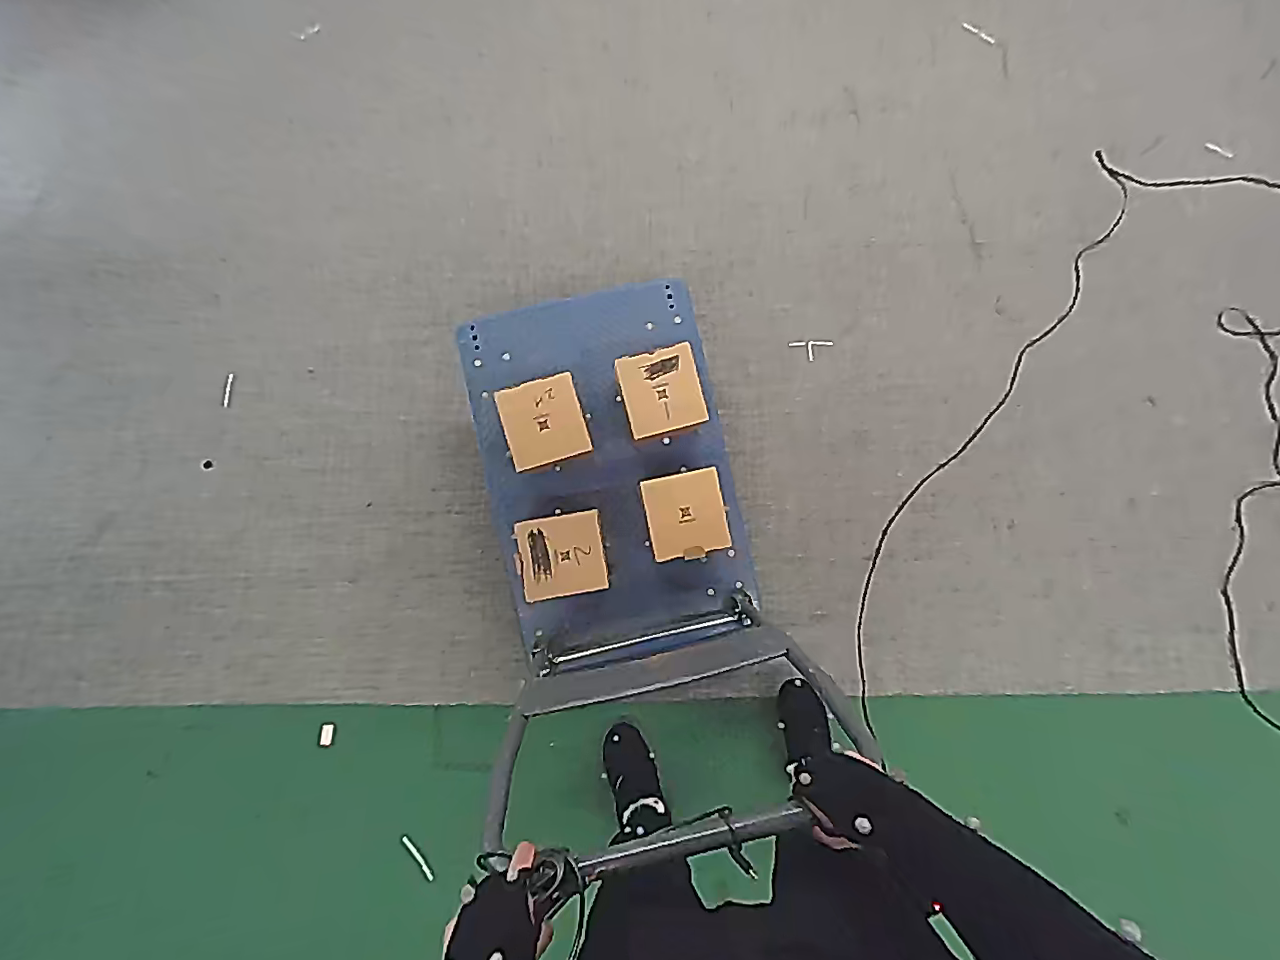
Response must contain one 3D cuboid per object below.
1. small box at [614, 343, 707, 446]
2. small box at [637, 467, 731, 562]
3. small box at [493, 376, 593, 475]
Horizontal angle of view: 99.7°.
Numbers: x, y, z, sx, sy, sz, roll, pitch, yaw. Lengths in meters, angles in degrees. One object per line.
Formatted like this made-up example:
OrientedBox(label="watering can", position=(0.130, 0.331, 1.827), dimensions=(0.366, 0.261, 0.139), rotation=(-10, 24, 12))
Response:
OrientedBox(label="small box", position=(0.039, -0.185, 1.217), dimensions=(0.168, 0.176, 0.179), rotation=(-15, 89, -2))
OrientedBox(label="small box", position=(0.091, 0.075, 1.212), dimensions=(0.168, 0.176, 0.179), rotation=(-12, 89, -2))
OrientedBox(label="small box", position=(-0.206, -0.114, 1.203), dimensions=(0.168, 0.176, 0.179), rotation=(-16, 89, -2))
